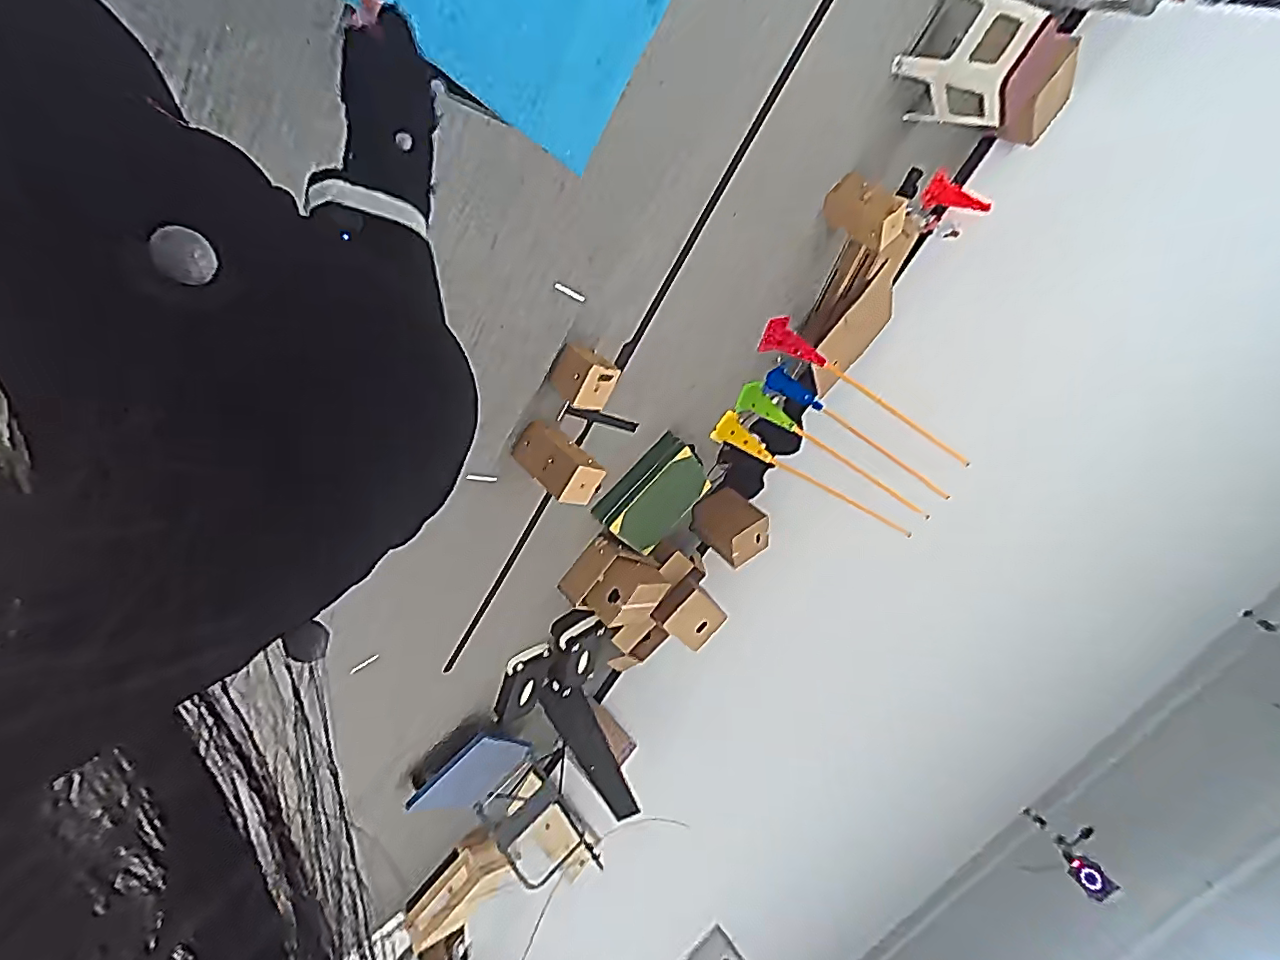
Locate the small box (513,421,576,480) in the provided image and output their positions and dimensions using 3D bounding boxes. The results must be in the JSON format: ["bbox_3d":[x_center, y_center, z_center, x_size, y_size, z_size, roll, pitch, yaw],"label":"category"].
[{"bbox_3d":[-0.387,-0.110,2.197,0.179,0.176,0.168,-55,151,14],"label":"small box"}]

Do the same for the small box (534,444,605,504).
[{"bbox_3d":[-0.279,-0.024,2.112,0.179,0.176,0.168,13,113,-56],"label":"small box"}]

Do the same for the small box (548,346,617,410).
[{"bbox_3d":[-0.226,-0.393,2.079,0.168,0.176,0.179,0,126,-53],"label":"small box"}]
